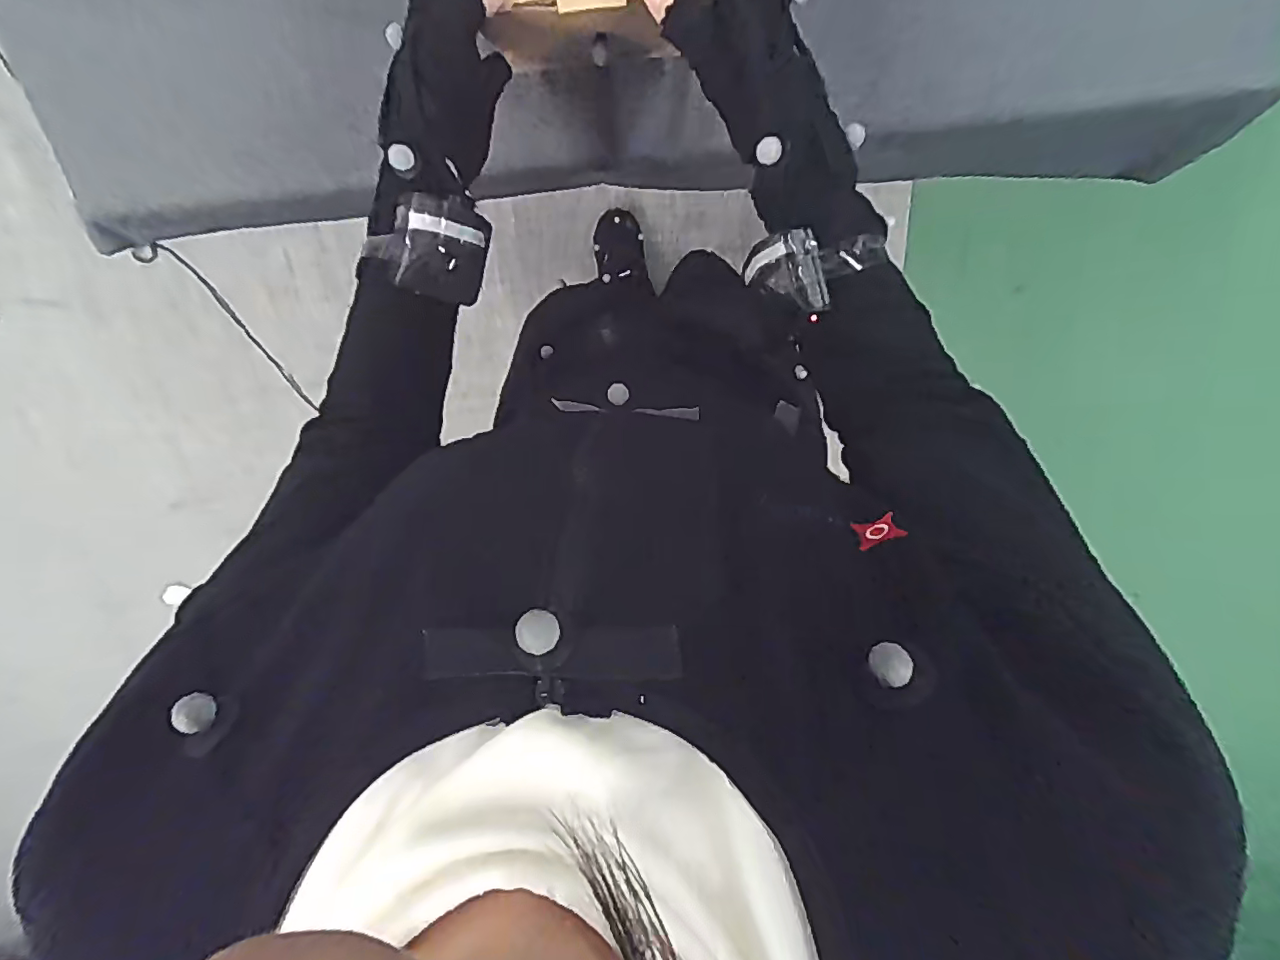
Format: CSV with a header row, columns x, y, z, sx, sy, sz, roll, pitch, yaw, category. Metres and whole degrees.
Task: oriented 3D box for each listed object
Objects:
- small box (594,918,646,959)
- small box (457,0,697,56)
x,y,z,sx,sy,sz,roll,pitch,yaw,category
-0.069,1.693,1.920,0.179,0.176,0.168,-4,114,3,small box
-0.042,-0.421,0.376,0.168,0.176,0.179,-5,118,2,small box
